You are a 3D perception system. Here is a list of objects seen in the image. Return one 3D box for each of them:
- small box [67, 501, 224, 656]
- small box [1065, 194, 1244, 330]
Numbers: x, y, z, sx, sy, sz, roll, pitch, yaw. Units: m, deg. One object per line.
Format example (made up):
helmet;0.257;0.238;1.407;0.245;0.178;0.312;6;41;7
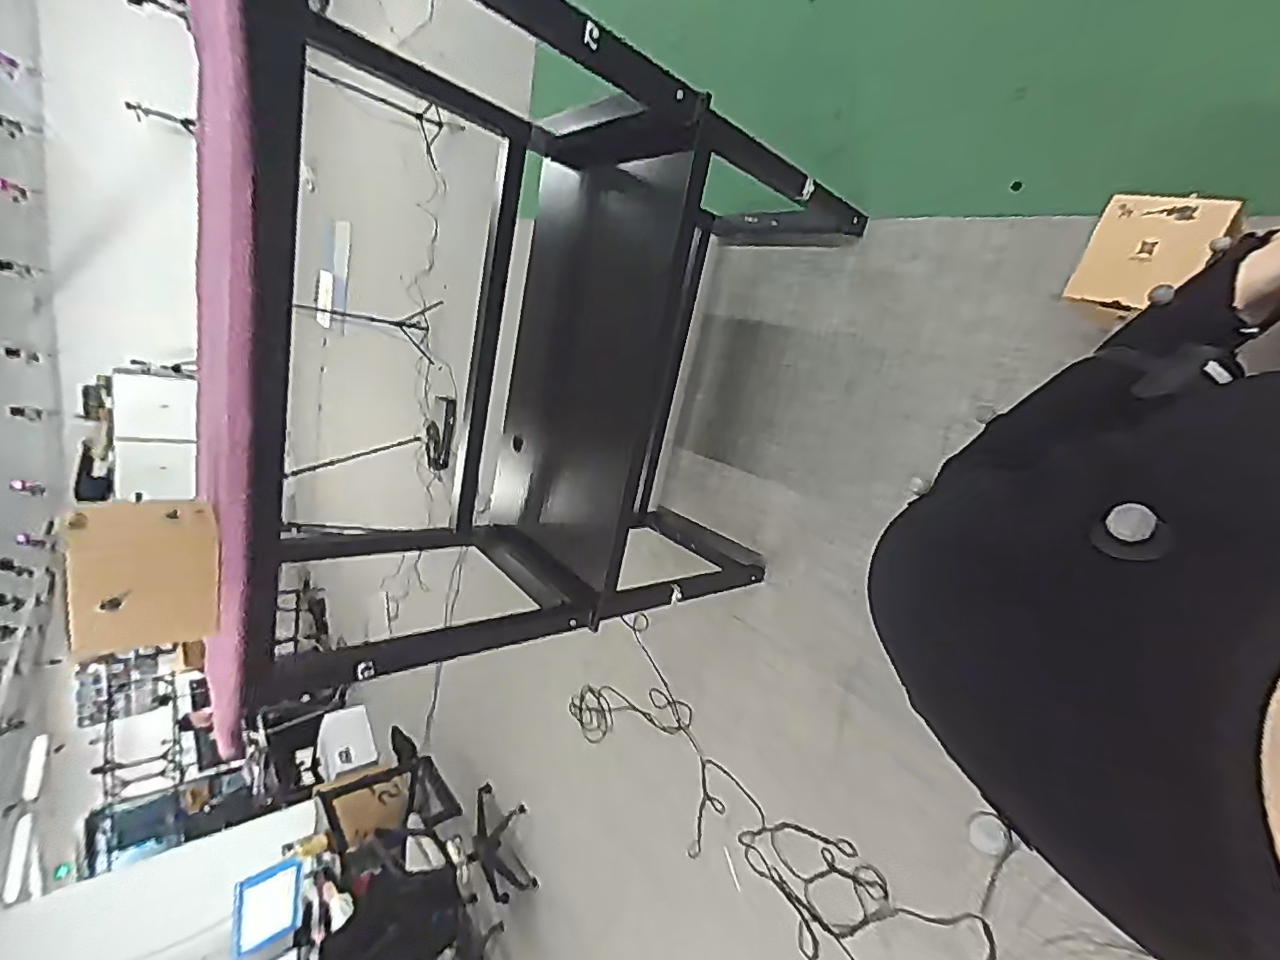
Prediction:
small box;-0.764;0.141;0.847;0.168;0.176;0.179;25;109;44
small box;0.894;-0.373;0.940;0.168;0.176;0.179;36;117;43
